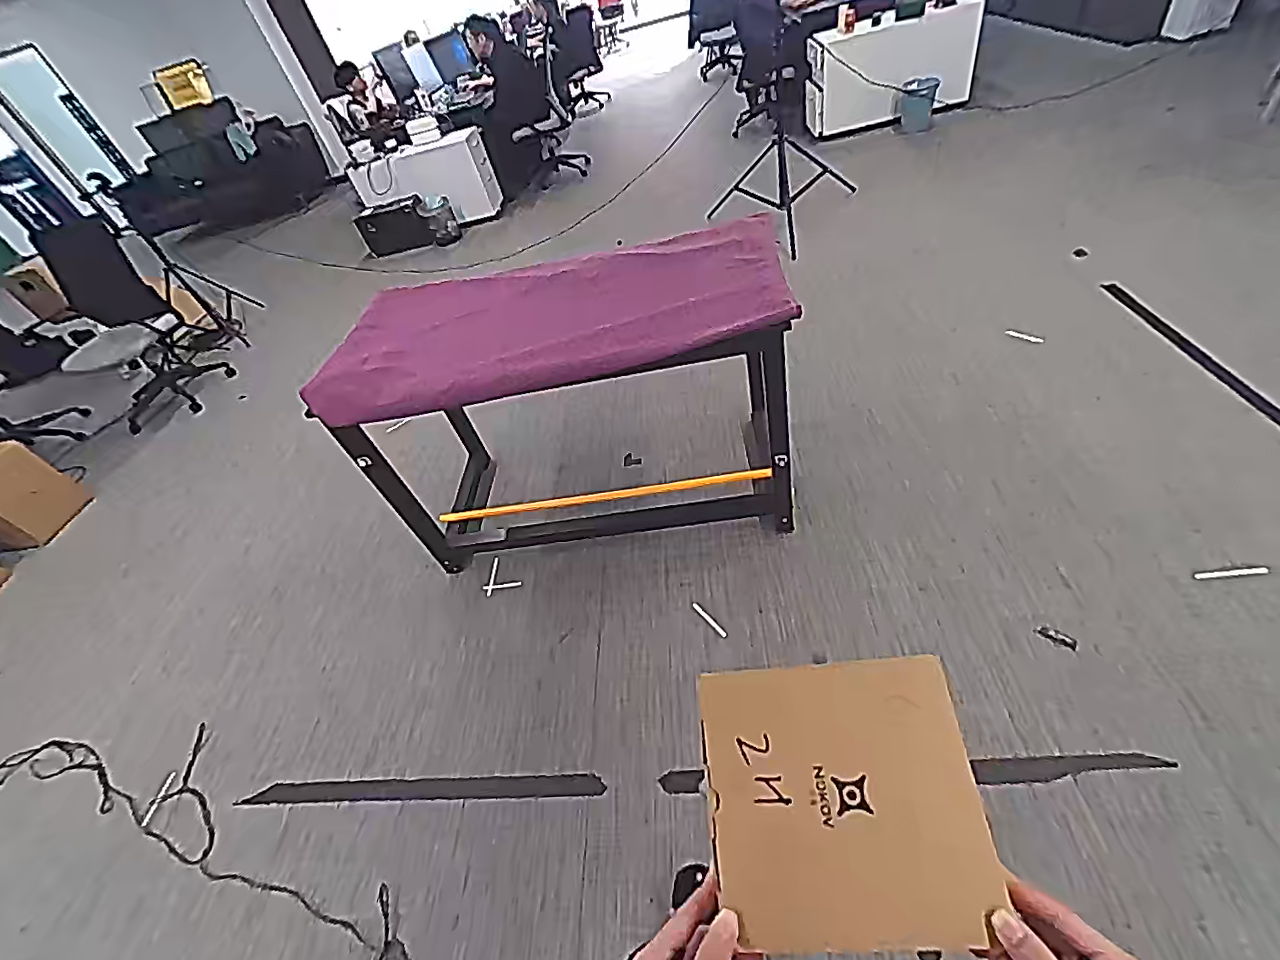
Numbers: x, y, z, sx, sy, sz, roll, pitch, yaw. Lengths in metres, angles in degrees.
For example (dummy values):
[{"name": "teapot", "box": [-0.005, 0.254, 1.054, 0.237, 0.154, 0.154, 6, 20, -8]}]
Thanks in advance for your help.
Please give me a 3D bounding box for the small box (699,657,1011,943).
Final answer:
[{"name": "small box", "box": [0.147, 0.243, 0.435, 0.179, 0.176, 0.168, -8, 62, 9]}]
